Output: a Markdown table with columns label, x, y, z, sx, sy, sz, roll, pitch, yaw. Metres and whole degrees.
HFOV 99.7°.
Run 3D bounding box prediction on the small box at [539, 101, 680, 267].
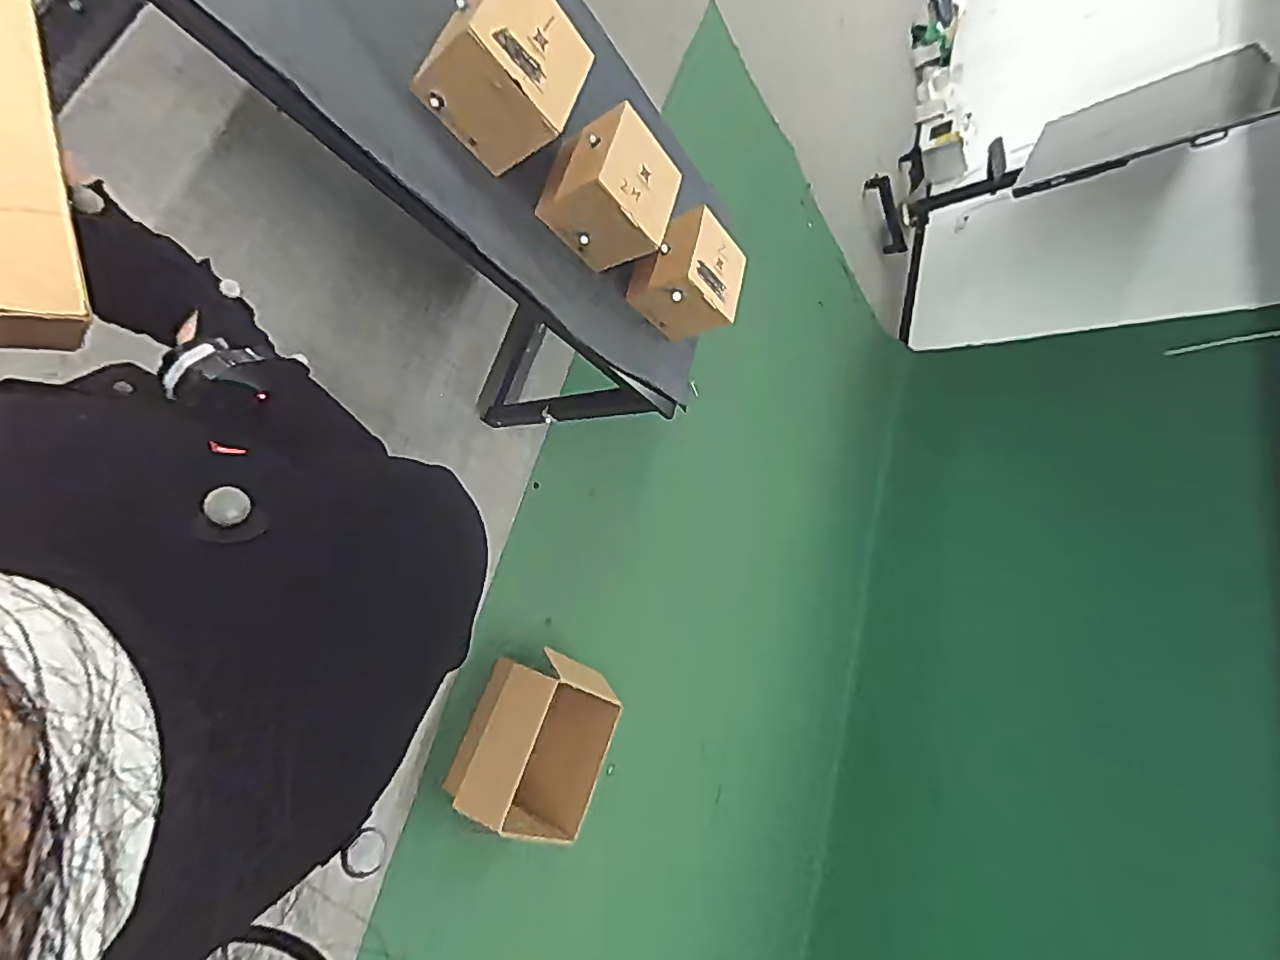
| label | x | y | z | sx | sy | sz | roll | pitch | yaw |
| --- | --- | --- | --- | --- | --- | --- | --- | --- | --- |
| small box | -0.057 | -0.524 | 0.982 | 0.168 | 0.176 | 0.179 | 32 | 67 | -43 |

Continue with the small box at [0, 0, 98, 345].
| label | x | y | z | sx | sy | sz | roll | pitch | yaw |
| --- | --- | --- | --- | --- | --- | --- | --- | --- | --- |
| small box | -0.440 | -0.175 | 0.302 | 0.168 | 0.176 | 0.179 | -12 | 104 | -47 |

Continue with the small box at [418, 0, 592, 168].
| label | x | y | z | sx | sy | sz | roll | pitch | yaw |
| --- | --- | --- | --- | --- | --- | --- | --- | --- | --- |
| small box | -0.206 | -0.618 | 0.817 | 0.168 | 0.176 | 0.179 | 35 | 65 | -43 |
